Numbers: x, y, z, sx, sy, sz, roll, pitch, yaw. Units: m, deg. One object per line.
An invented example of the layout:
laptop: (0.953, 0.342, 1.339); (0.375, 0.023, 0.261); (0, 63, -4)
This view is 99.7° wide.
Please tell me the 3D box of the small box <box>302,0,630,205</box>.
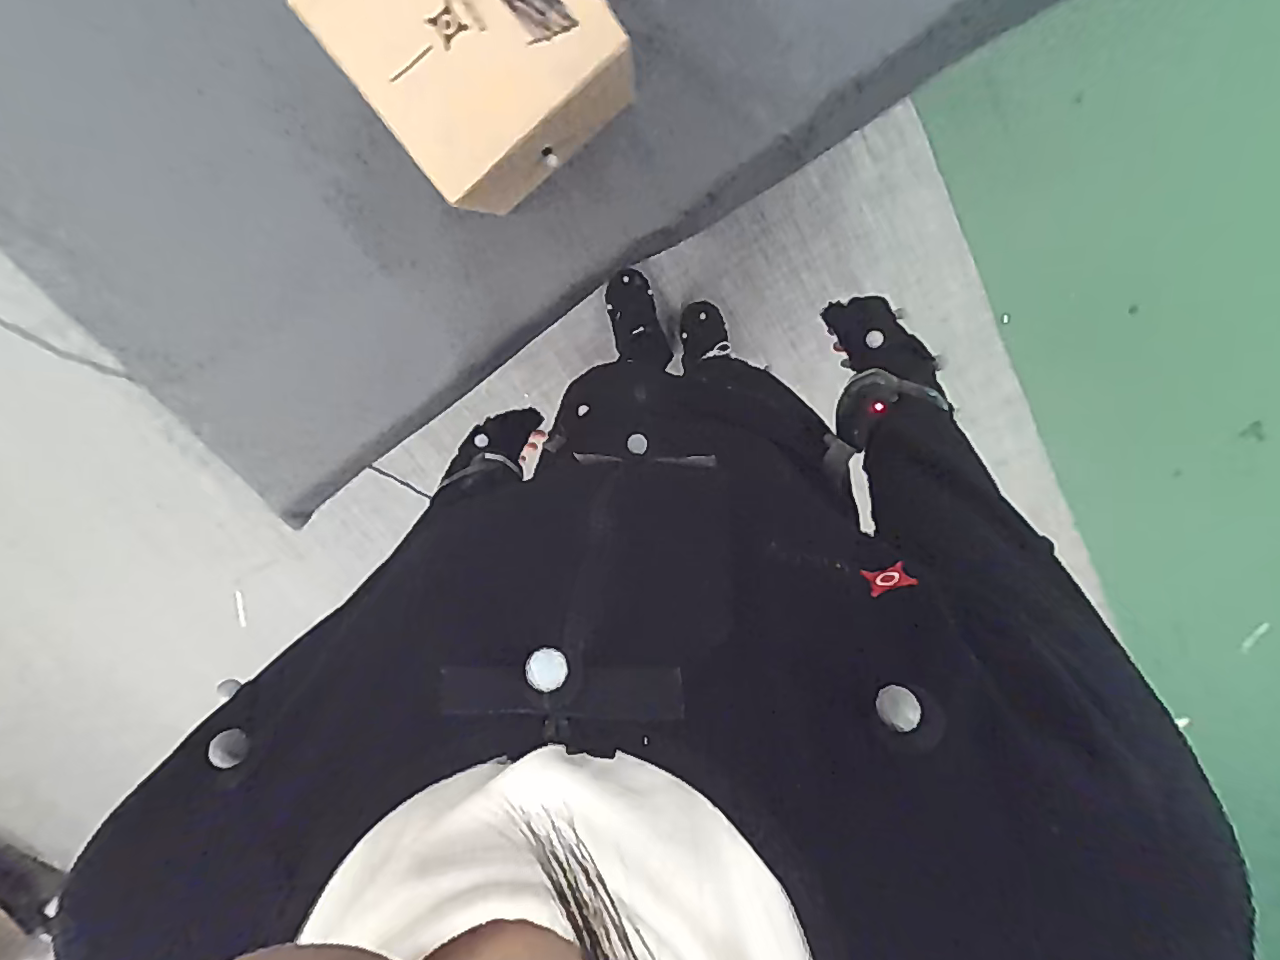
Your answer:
small box: (-0.124, -0.362, 0.456); (0.179, 0.176, 0.168); (-34, 109, 15)
